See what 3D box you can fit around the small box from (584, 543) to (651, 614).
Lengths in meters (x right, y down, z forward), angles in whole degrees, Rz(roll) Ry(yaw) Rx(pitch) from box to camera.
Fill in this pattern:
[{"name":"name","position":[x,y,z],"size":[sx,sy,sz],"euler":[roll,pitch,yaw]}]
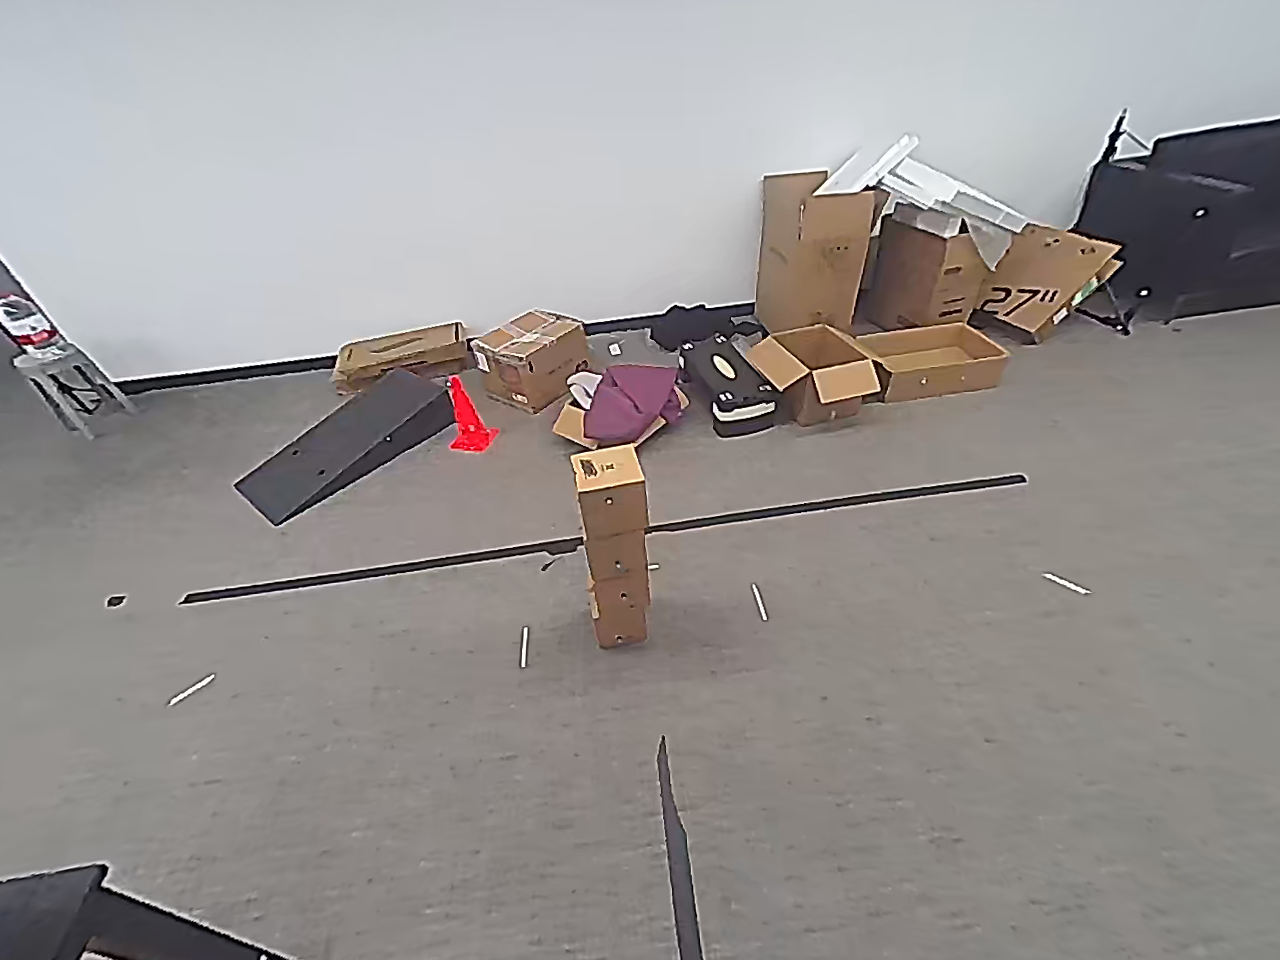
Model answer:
[{"name":"small box","position":[-0.068,0.293,1.668],"size":[0.168,0.176,0.179],"euler":[-13,40,-7]}]

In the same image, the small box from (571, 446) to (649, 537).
[{"name":"small box","position":[-0.080,0.034,1.463],"size":[0.179,0.176,0.168],"euler":[-11,39,-6]}]

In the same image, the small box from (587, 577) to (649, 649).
[{"name":"small box","position":[-0.072,0.420,1.772],"size":[0.168,0.176,0.179],"euler":[-12,41,-6]}]

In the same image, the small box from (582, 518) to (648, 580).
[{"name":"small box","position":[-0.074,0.162,1.567],"size":[0.168,0.176,0.179],"euler":[-10,40,-3]}]
